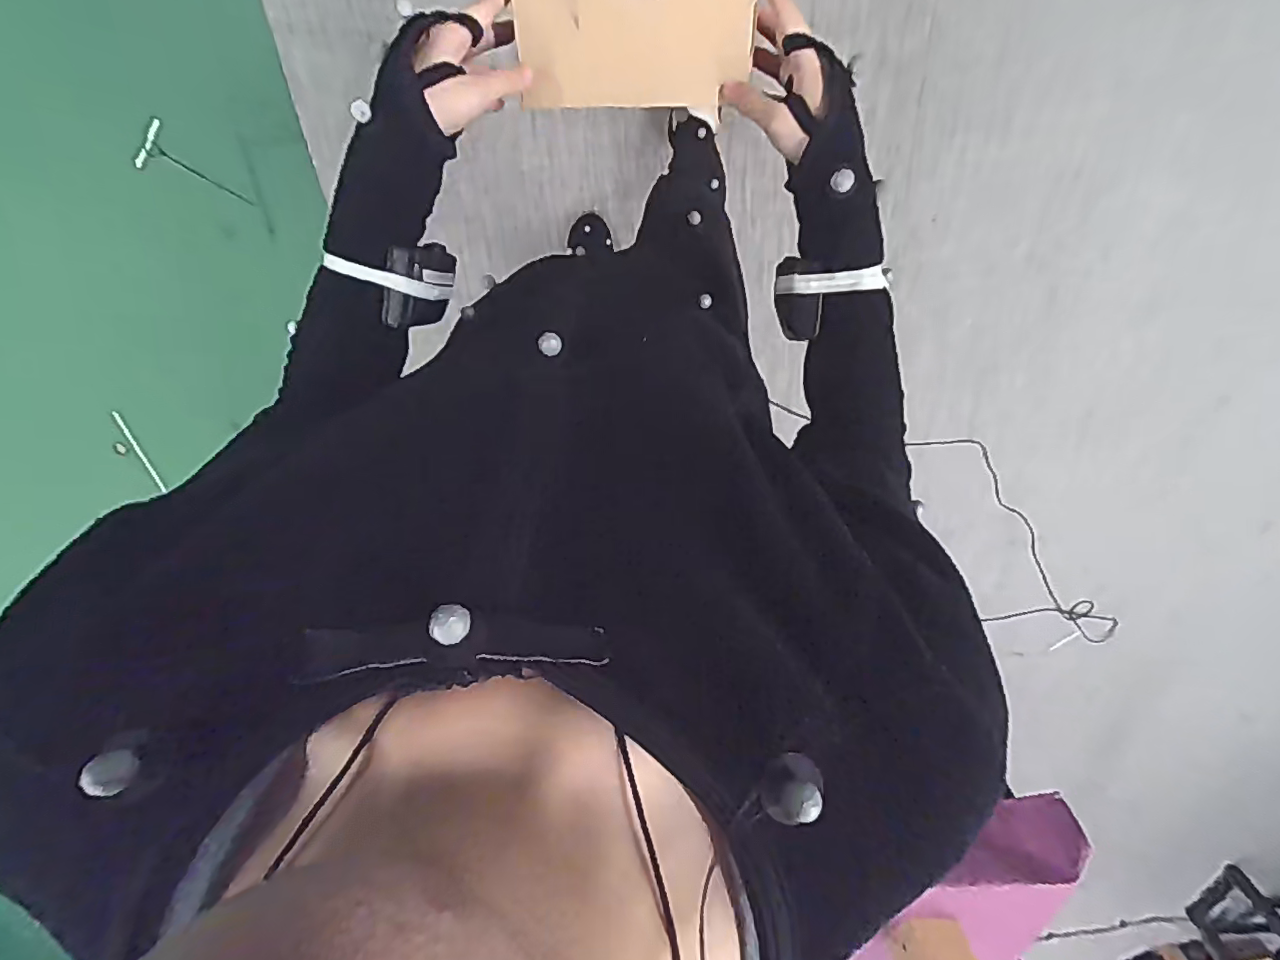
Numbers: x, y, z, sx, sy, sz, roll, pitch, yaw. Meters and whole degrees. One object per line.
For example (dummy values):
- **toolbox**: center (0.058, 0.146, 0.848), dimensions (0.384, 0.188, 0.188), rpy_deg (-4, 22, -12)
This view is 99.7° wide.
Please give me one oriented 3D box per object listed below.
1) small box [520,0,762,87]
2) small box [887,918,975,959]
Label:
- **small box**: center (-0.003, -0.419, 0.430), dimensions (0.179, 0.176, 0.168), rpy_deg (-1, 127, -1)
- **small box**: center (0.846, 1.388, 1.548), dimensions (0.179, 0.176, 0.168), rpy_deg (7, 121, -4)
